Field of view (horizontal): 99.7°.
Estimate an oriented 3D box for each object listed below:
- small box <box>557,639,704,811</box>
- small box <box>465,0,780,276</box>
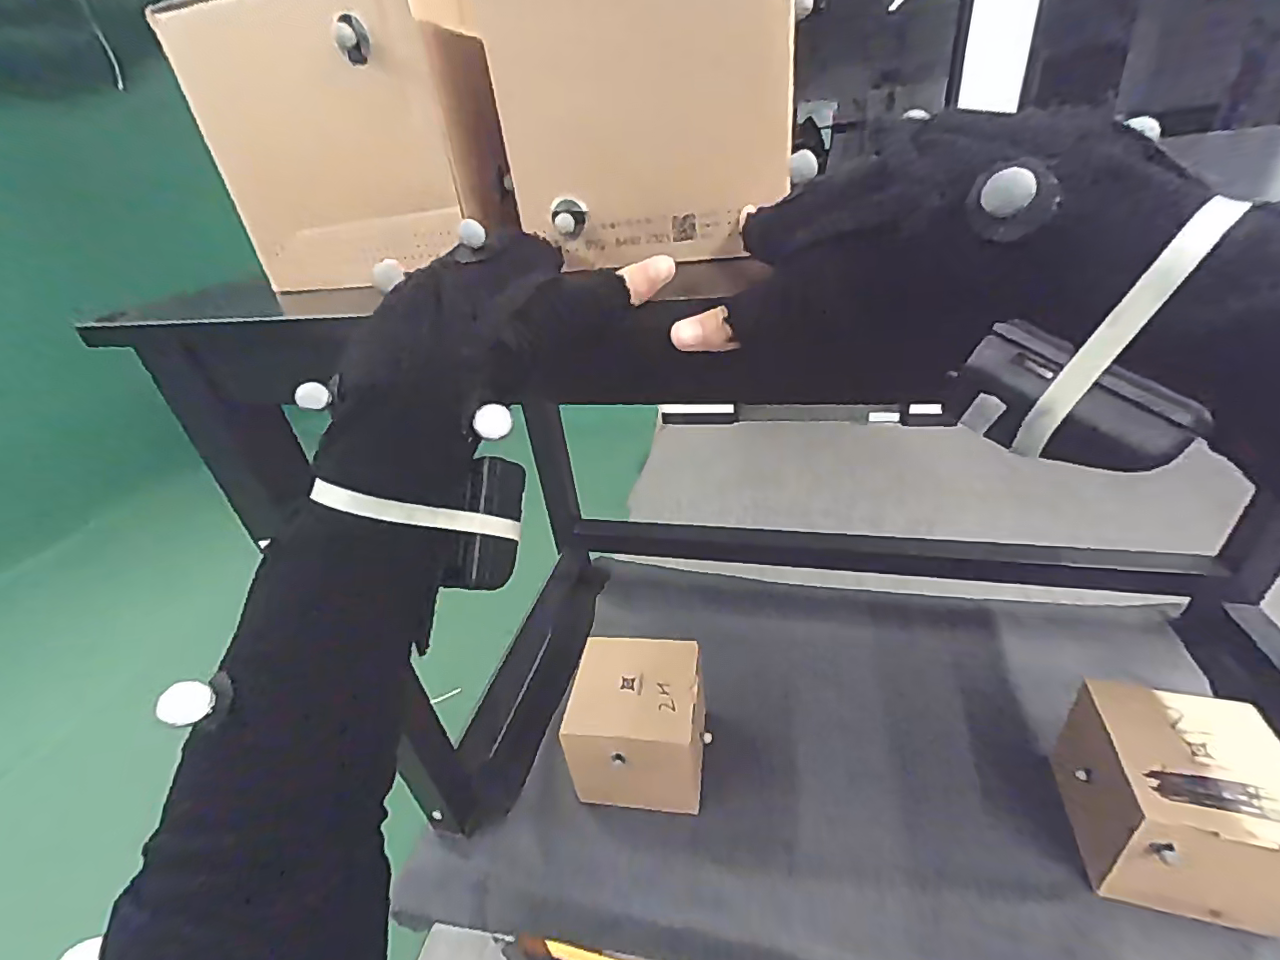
[{"bbox_3d":[-0.003,0.359,0.798,0.179,0.176,0.168,0,33,11],"label":"small box"},{"bbox_3d":[0.011,-0.243,0.372,0.168,0.176,0.179,0,31,13],"label":"small box"}]
